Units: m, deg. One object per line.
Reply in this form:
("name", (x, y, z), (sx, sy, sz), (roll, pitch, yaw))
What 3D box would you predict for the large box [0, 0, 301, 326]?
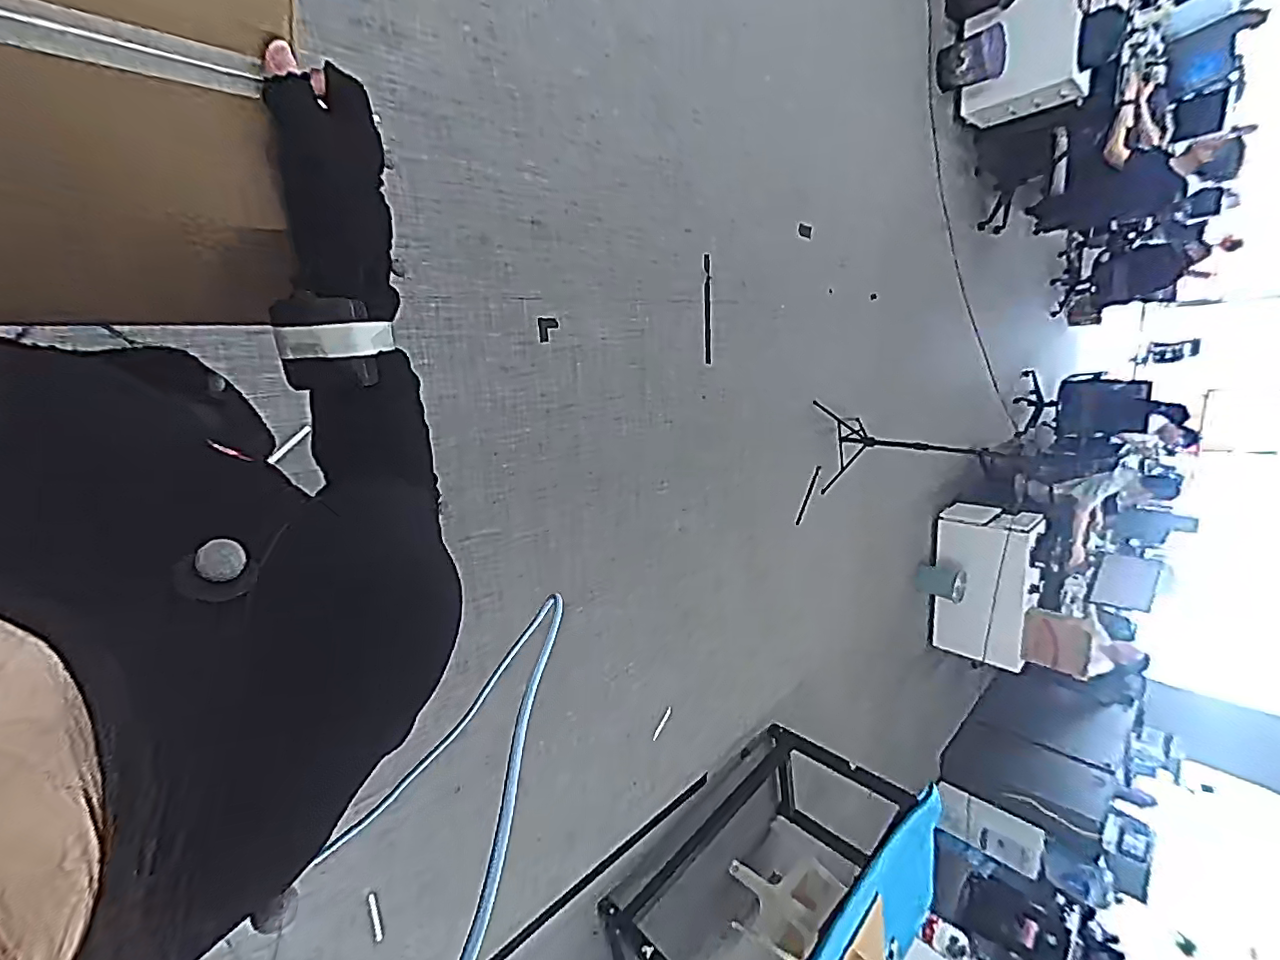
("large box", (-0.463, -0.294, 0.294), (0.408, 0.320, 0.320), (-15, 136, -41))
